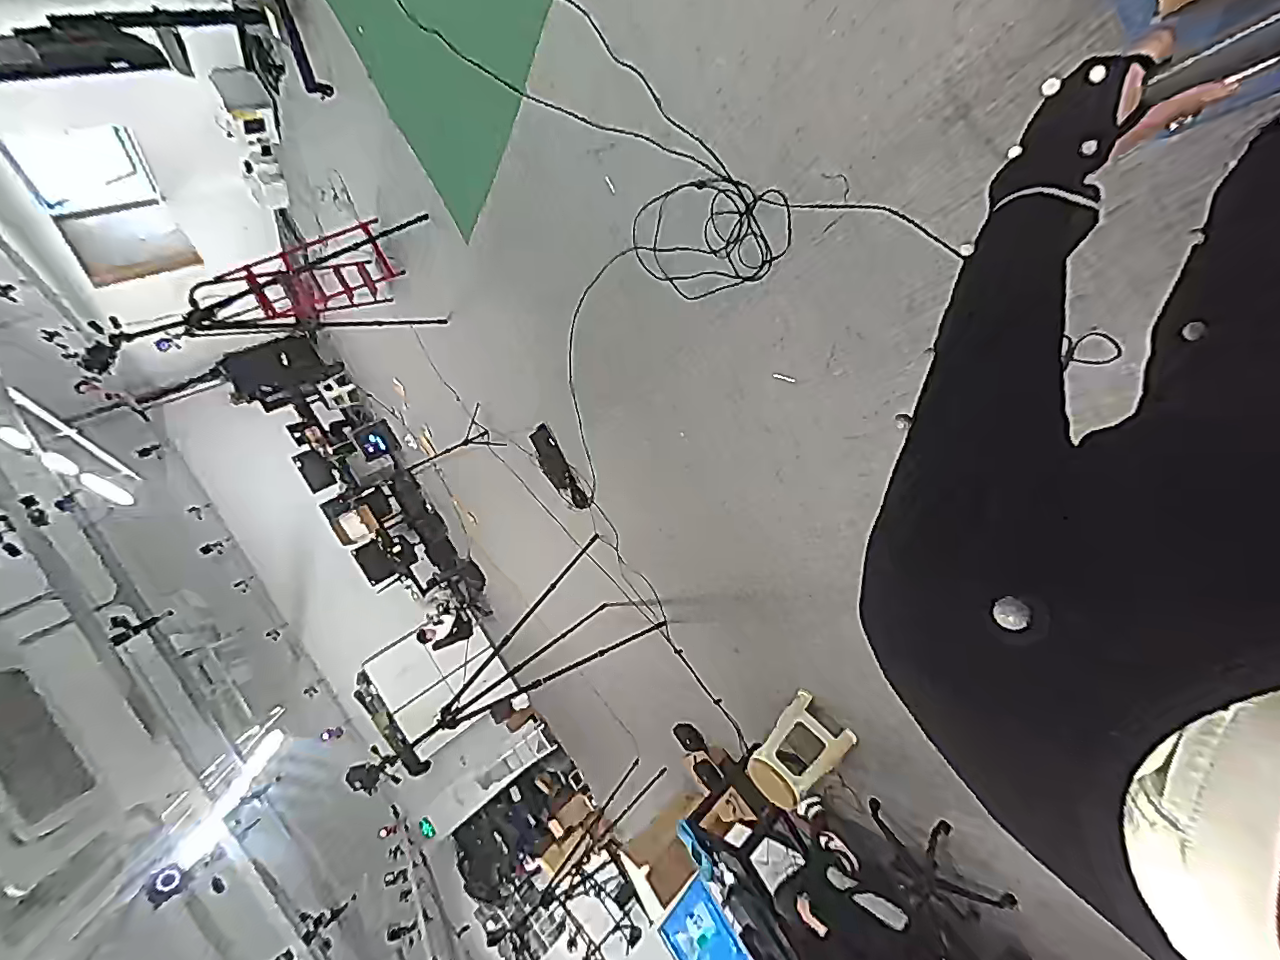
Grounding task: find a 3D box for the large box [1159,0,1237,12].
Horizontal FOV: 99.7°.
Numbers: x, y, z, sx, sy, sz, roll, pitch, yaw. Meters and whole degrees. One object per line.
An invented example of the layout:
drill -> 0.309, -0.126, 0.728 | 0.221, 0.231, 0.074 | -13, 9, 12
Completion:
large box -> 0.795, -0.852, 0.606 | 0.320, 0.320, 0.408 | -3, 114, 56
